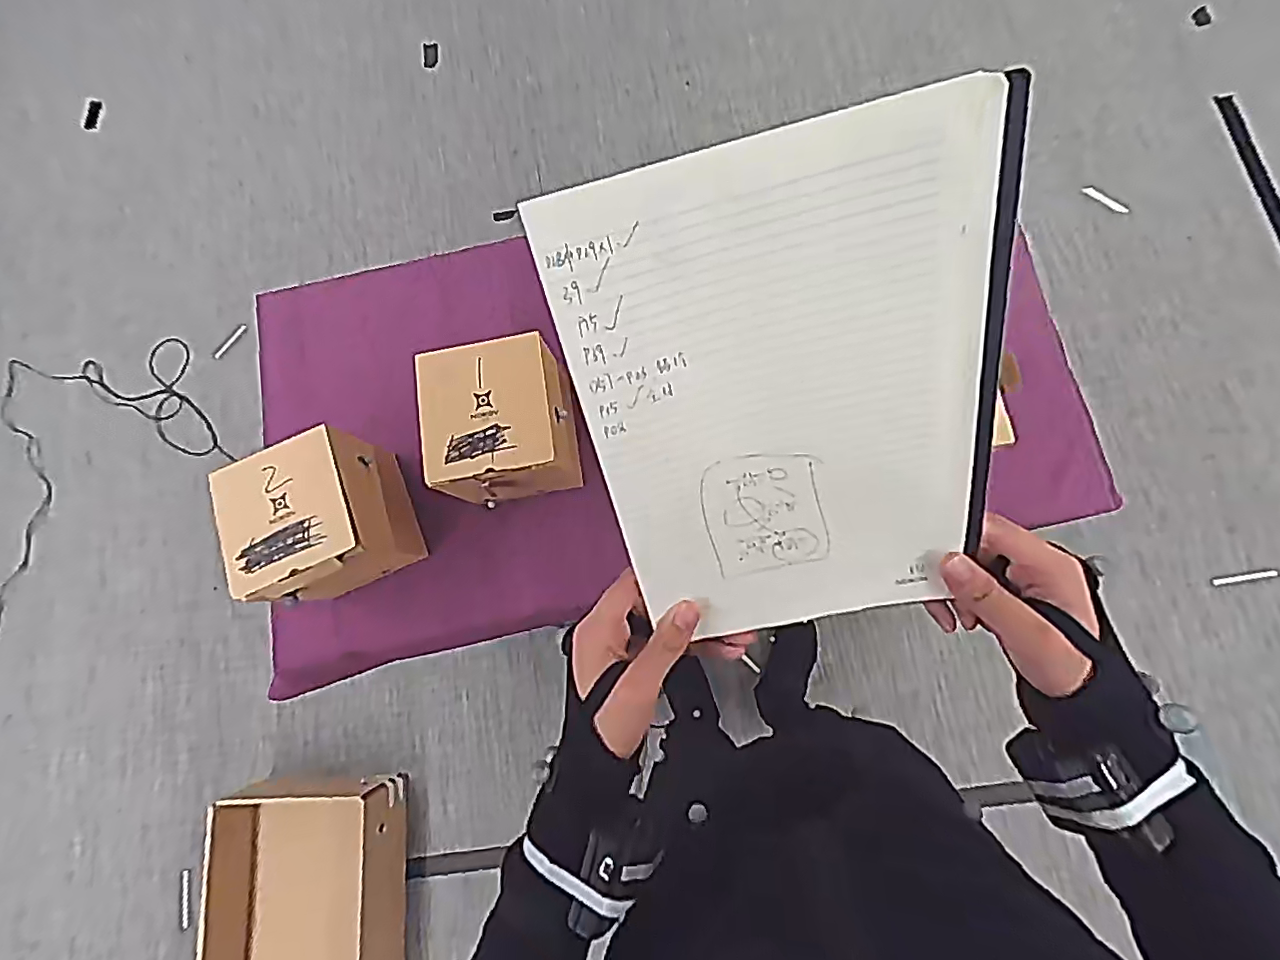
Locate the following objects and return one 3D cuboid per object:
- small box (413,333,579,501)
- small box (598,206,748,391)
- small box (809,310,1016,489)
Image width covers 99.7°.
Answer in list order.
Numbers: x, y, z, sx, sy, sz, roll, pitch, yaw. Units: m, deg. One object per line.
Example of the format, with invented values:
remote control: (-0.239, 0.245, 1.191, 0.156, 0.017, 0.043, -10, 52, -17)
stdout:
small box: (-0.186, -0.073, 0.740, 0.168, 0.176, 0.179, -10, 78, 4)
small box: (0.047, -0.235, 0.748, 0.168, 0.176, 0.179, -10, 78, 3)
small box: (0.324, -0.090, 0.691, 0.179, 0.176, 0.168, -9, 79, 4)
